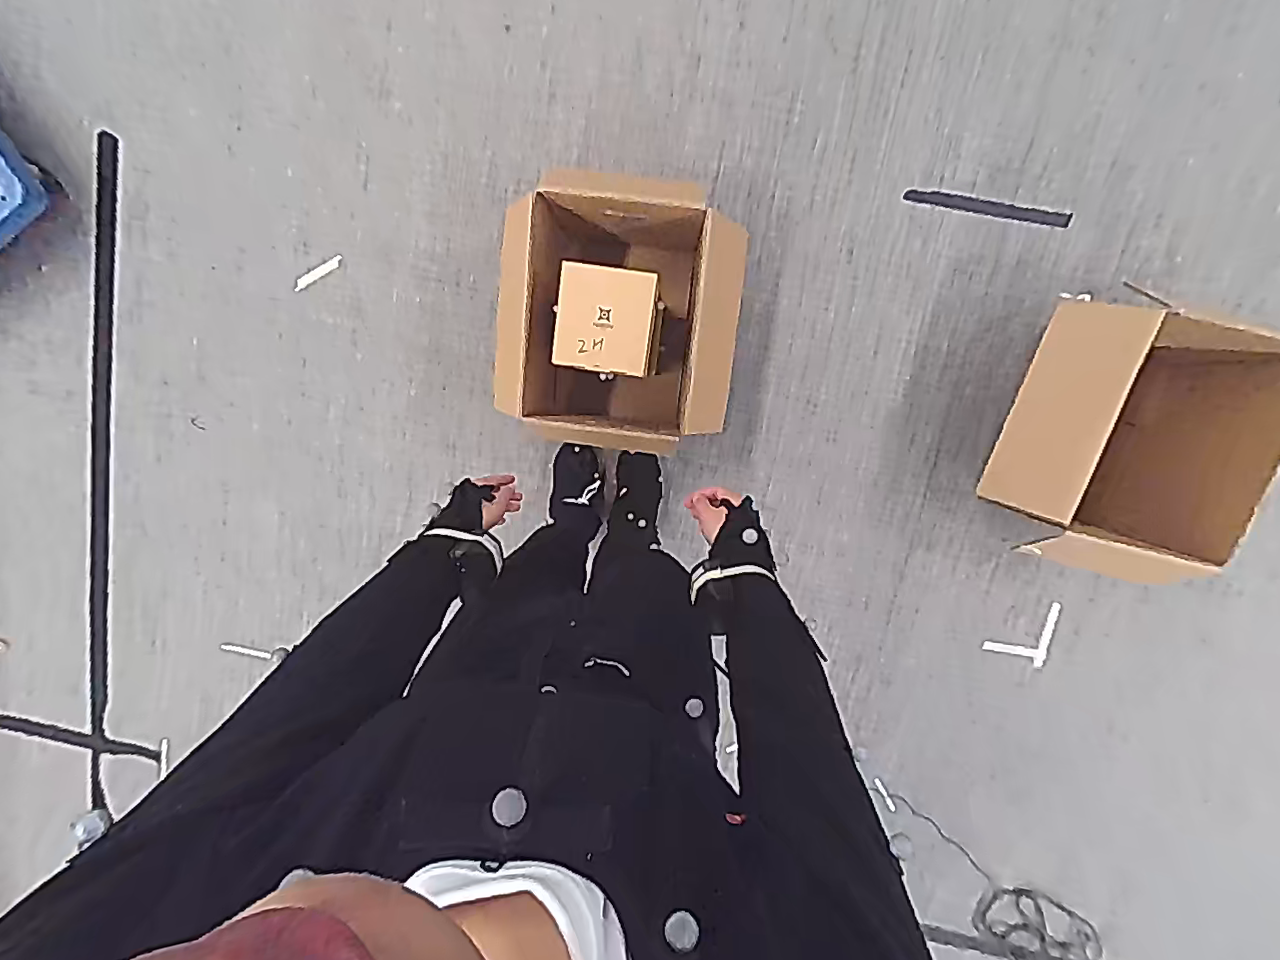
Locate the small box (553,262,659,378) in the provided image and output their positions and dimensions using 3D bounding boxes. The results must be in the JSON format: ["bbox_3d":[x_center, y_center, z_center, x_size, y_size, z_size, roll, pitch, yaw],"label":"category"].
[{"bbox_3d":[-0.058,-0.290,1.013,0.168,0.176,0.179,9,101,2],"label":"small box"}]
